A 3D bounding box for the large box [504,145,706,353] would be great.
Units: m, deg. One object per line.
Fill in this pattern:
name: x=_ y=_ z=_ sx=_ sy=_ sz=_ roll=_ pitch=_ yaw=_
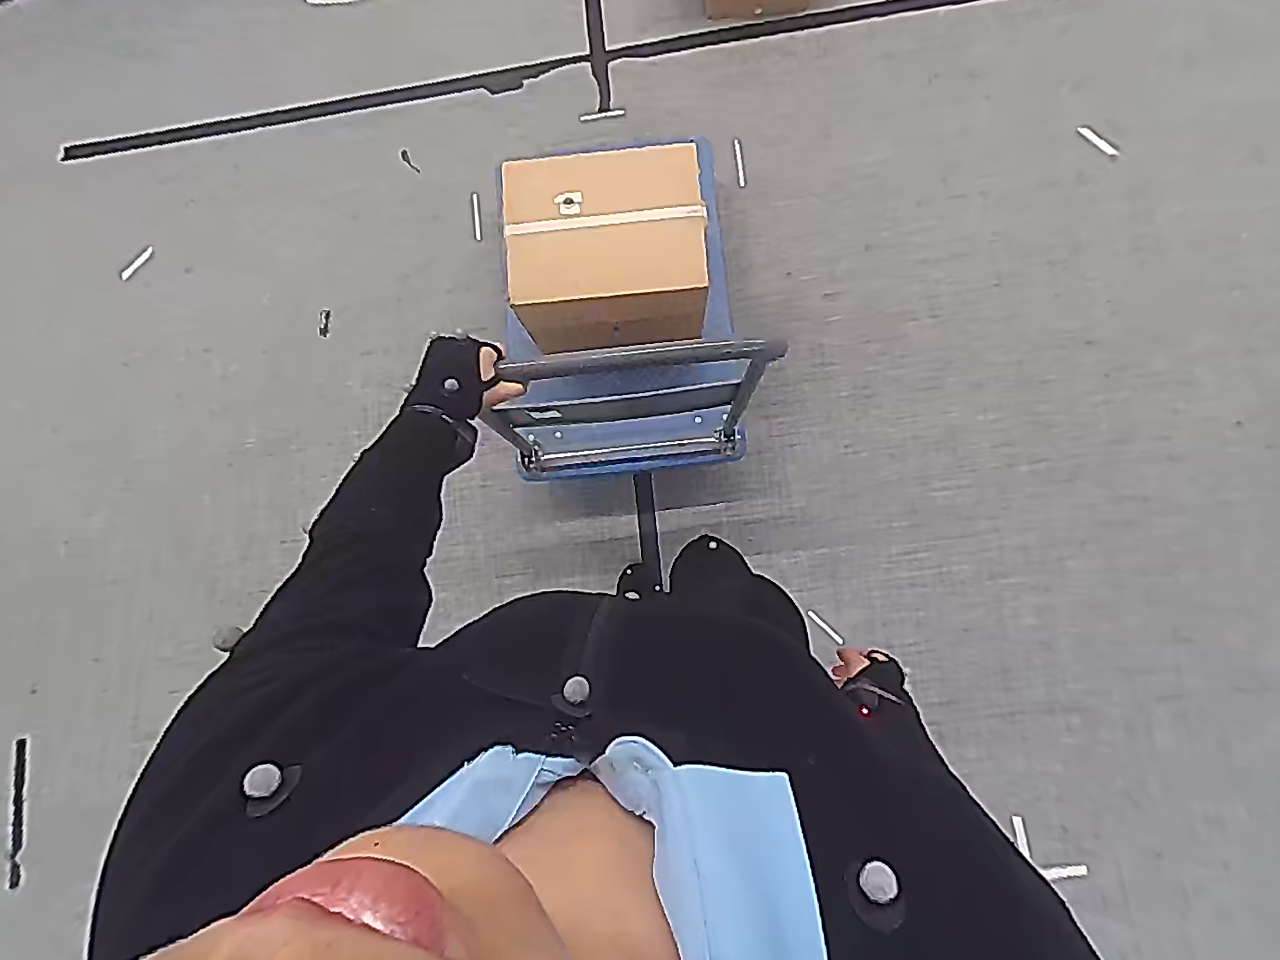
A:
large box: x=-0.065 y=-0.507 z=1.255 sx=0.408 sy=0.320 sz=0.320 roll=-5 pitch=82 yaw=4
